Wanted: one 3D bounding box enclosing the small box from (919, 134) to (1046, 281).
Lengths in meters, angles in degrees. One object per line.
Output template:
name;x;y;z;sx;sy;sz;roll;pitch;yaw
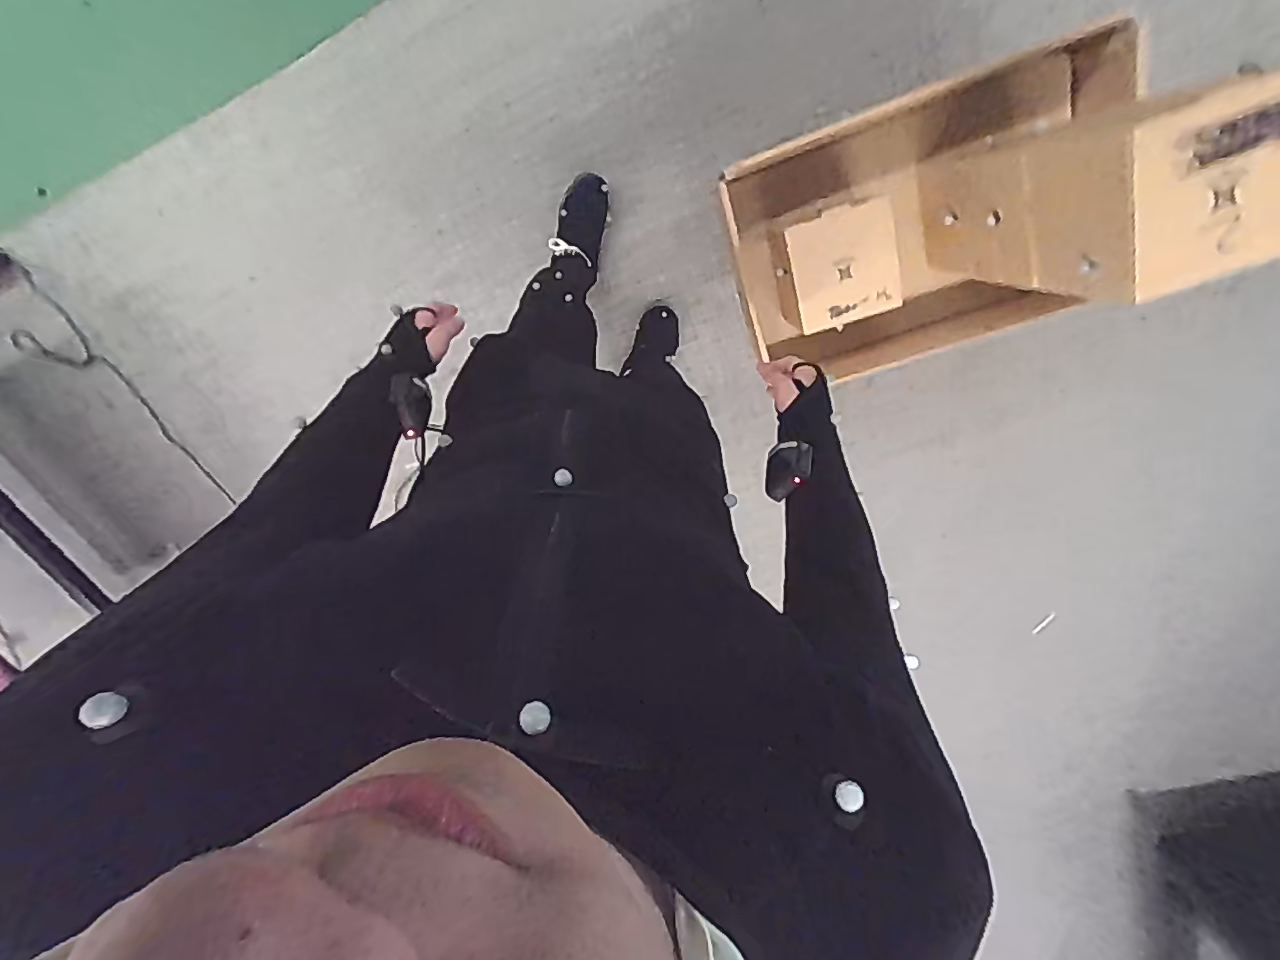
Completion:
small box;0.588;-0.452;0.898;0.168;0.176;0.179;-16;113;10

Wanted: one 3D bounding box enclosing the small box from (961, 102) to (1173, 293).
small box;0.577;-0.381;0.750;0.168;0.176;0.179;-18;112;11

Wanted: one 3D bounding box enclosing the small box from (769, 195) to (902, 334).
small box;0.332;-0.373;0.942;0.168;0.176;0.179;-15;113;9
